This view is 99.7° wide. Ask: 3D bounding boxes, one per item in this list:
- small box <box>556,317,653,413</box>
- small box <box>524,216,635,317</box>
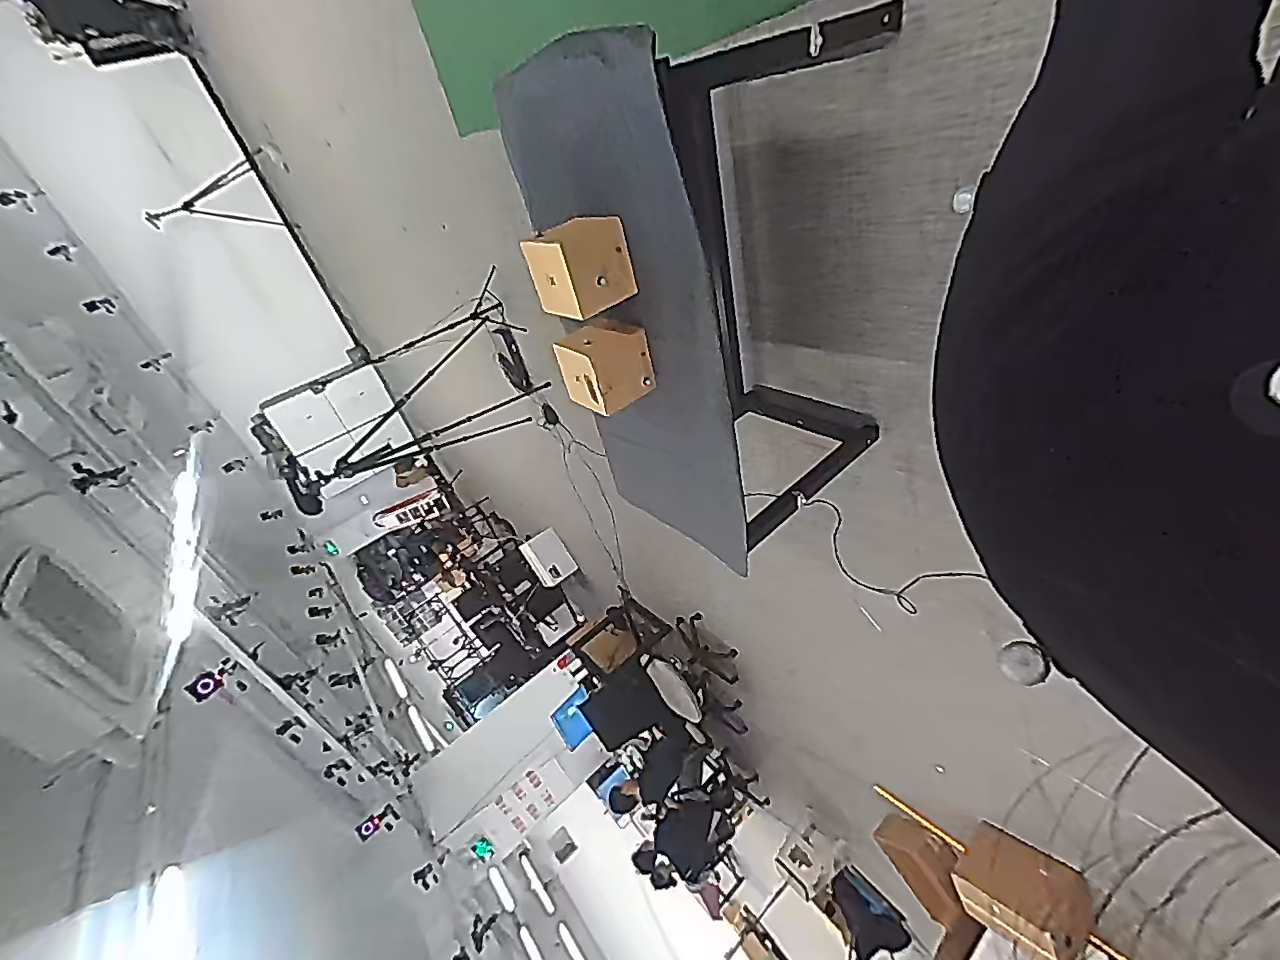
[{"bbox_3d":[-0.081,-0.299,1.380,0.179,0.176,0.168,31,146,44],"label":"small box"},{"bbox_3d":[-0.128,-0.488,1.227,0.179,0.176,0.168,29,145,46],"label":"small box"}]
